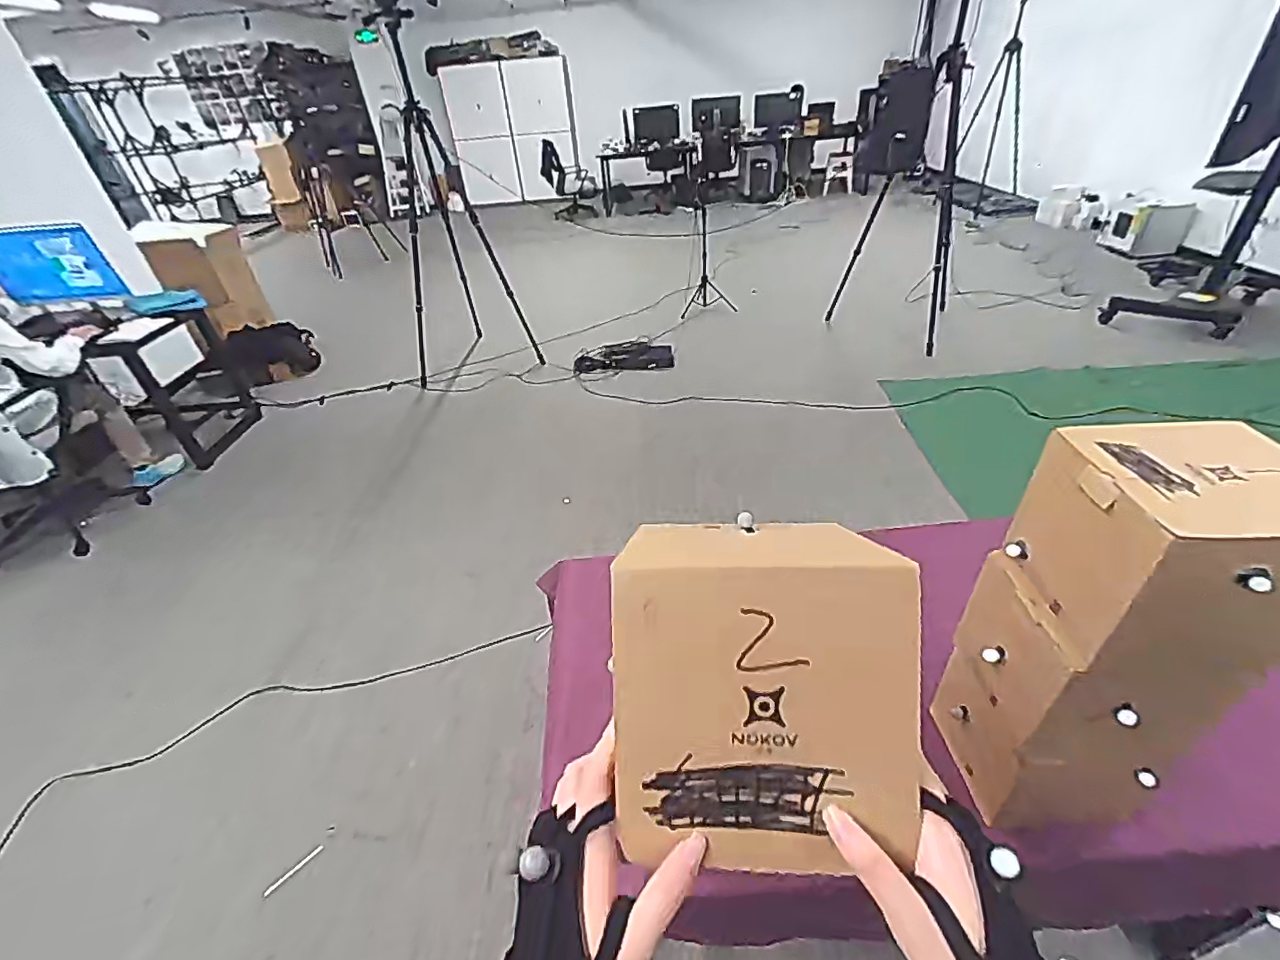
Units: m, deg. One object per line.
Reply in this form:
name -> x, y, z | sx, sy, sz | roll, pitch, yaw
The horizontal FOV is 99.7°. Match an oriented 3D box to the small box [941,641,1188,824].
small box -> 0.518, 0.322, 0.700 | 0.179, 0.176, 0.168 | -5, 36, 1

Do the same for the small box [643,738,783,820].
small box -> 0.092, 0.340, 0.735 | 0.168, 0.176, 0.179 | -4, 36, 2

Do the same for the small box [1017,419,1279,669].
small box -> 0.492, 0.059, 0.504 | 0.179, 0.176, 0.168 | -1, 36, 4

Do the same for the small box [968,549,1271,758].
small box -> 0.497, 0.191, 0.604 | 0.179, 0.176, 0.168 | -3, 37, 5
